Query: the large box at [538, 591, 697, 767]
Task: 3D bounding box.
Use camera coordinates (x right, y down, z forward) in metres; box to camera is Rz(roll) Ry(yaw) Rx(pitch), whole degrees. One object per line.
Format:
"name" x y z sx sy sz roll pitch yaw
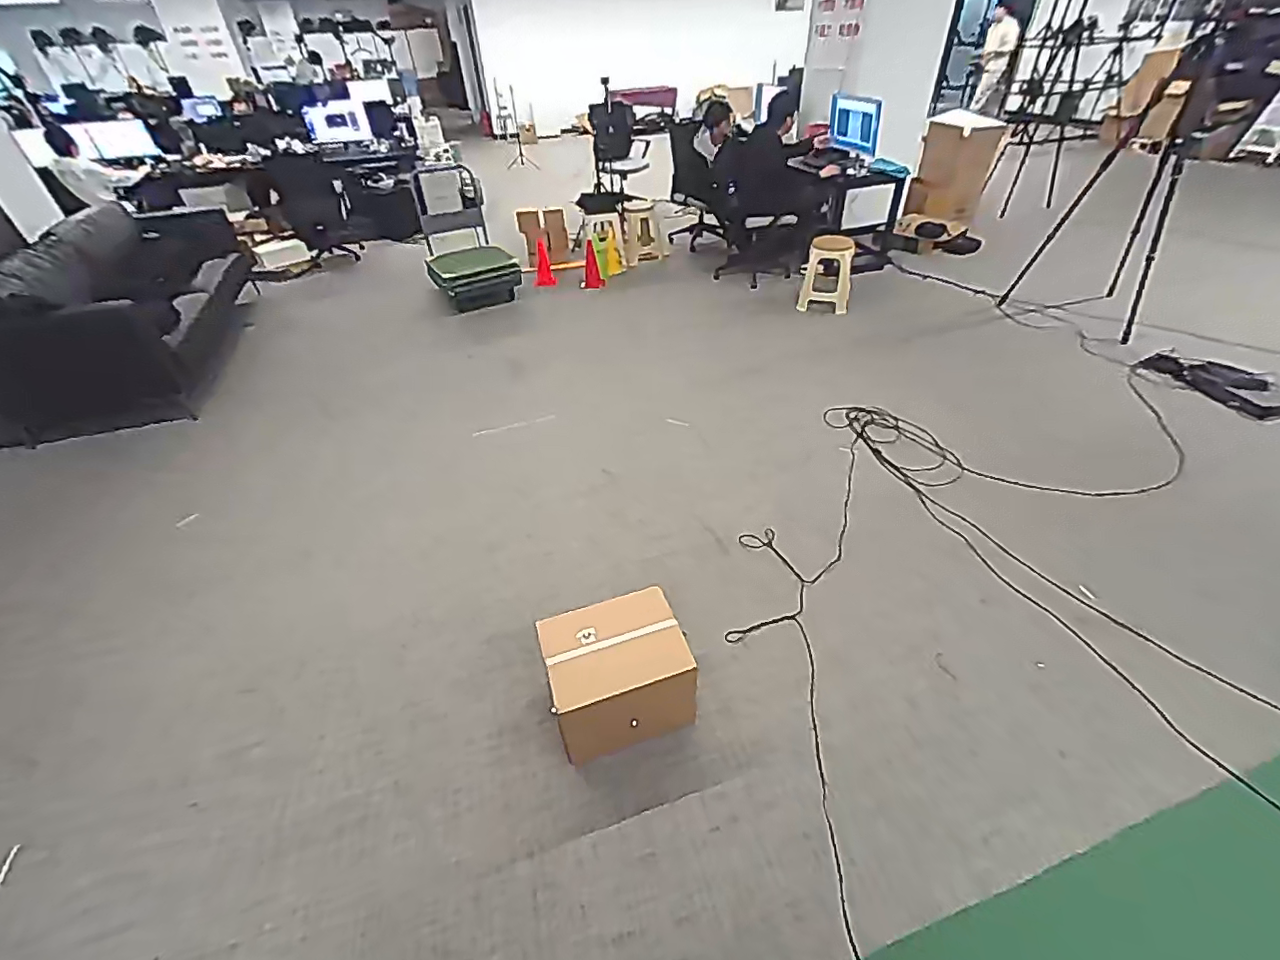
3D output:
"large box" -0.066 0.609 1.676 0.408 0.320 0.320 -16 40 -13
